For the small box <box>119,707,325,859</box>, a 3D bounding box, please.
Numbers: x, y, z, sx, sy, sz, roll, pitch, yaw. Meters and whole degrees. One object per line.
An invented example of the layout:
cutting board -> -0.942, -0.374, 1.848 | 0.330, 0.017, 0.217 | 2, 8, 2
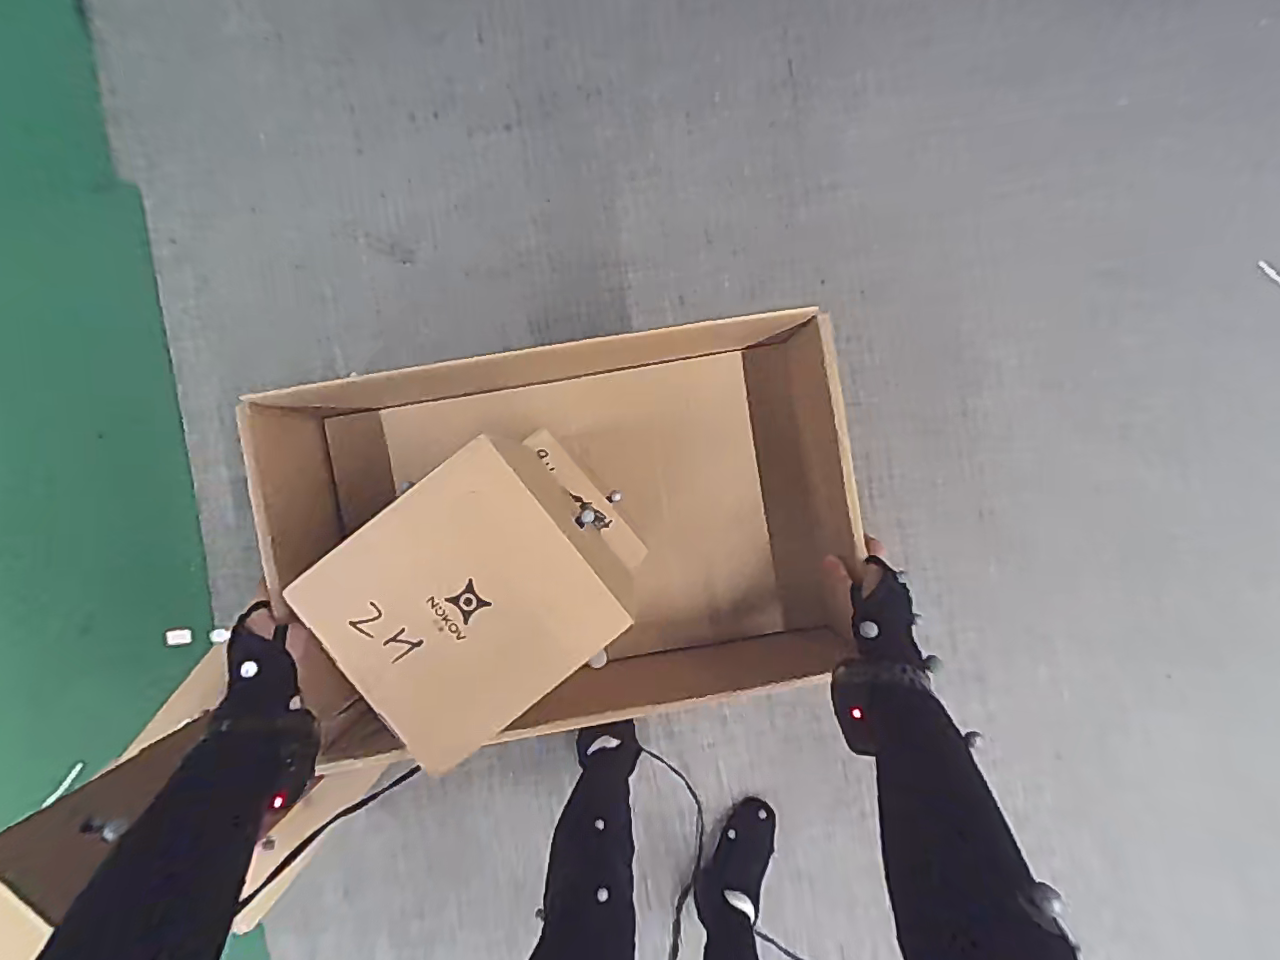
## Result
small box -> -0.565, 0.425, 0.701 | 0.179, 0.176, 0.168 | 44, 89, -1

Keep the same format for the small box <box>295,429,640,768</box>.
small box -> -0.119, 0.080, 0.444 | 0.179, 0.176, 0.168 | -38, 90, -1

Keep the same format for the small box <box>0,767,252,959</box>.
small box -> -0.554, 0.426, 0.538 | 0.179, 0.176, 0.168 | 41, 90, -1

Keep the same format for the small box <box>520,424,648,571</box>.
small box -> -0.108, 0.060, 0.609 | 0.179, 0.176, 0.168 | -40, 92, -1
